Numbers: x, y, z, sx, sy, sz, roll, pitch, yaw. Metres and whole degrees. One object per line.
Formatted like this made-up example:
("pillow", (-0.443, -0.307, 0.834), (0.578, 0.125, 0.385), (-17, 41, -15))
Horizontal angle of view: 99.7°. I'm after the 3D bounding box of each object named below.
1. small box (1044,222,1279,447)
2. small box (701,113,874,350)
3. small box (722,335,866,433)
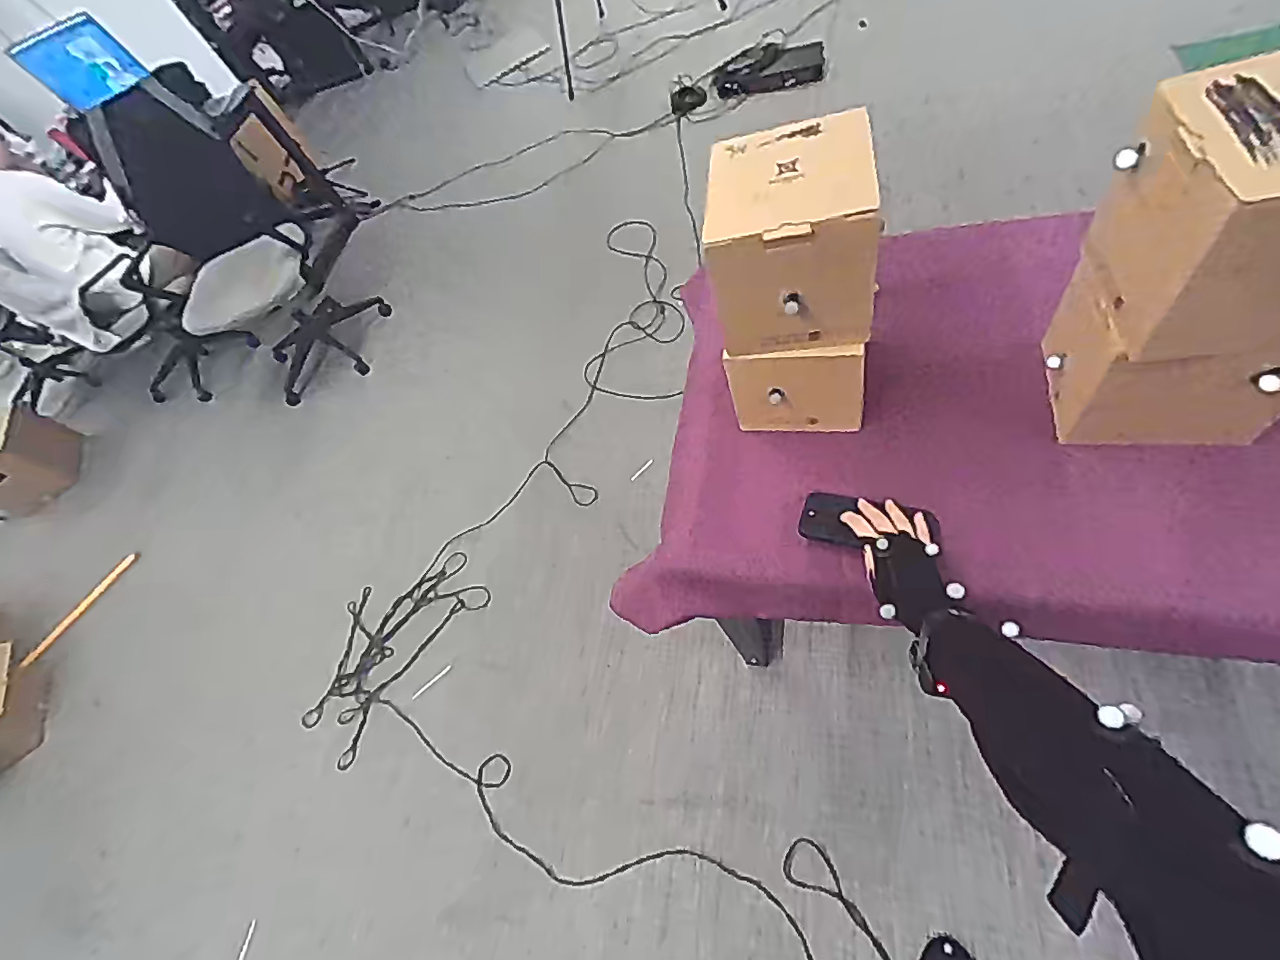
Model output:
("small box", (0.579, -0.148, 0.592), (0.179, 0.176, 0.168), (2, 61, 22))
("small box", (0.173, -0.265, 0.617), (0.168, 0.176, 0.179), (-2, 61, 19))
("small box", (0.222, -0.178, 0.747), (0.168, 0.176, 0.179), (3, 61, 22))
